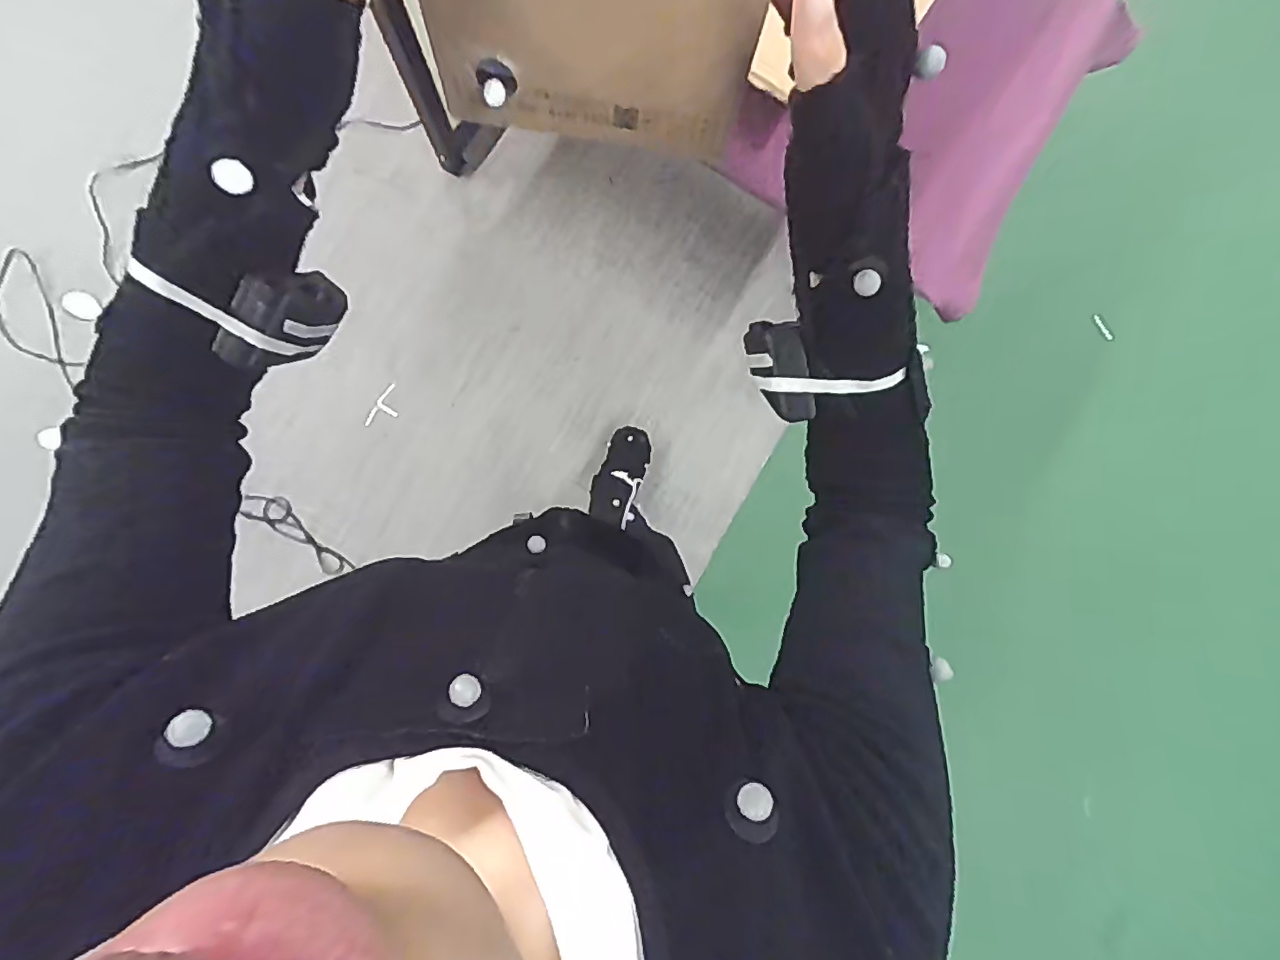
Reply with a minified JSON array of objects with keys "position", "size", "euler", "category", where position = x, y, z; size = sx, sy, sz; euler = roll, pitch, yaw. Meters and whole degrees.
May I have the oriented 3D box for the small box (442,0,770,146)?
[{"position":[-0.010,-0.309,0.270],"size":[0.168,0.176,0.179],"euler":[7,75,-4],"category":"small box"}]
